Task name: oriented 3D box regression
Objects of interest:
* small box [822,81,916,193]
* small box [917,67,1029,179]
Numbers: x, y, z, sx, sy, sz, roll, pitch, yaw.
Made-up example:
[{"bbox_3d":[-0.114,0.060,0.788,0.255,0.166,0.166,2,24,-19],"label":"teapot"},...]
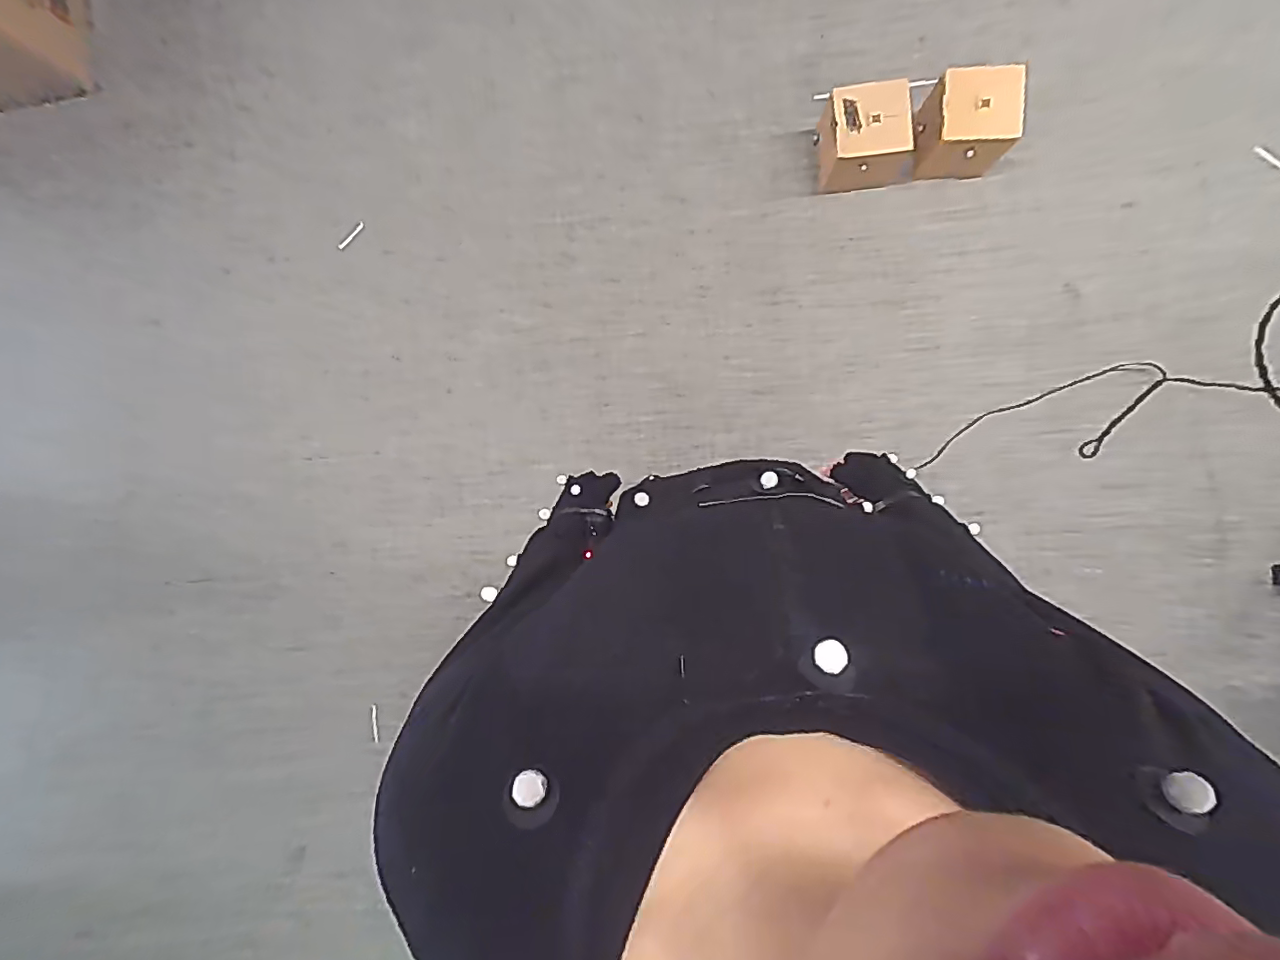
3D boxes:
[{"bbox_3d":[0.554,-0.834,1.334,0.179,0.176,0.168,-4,91,5],"label":"small box"},{"bbox_3d":[0.797,-0.855,1.309,0.179,0.176,0.168,1,92,7],"label":"small box"}]
